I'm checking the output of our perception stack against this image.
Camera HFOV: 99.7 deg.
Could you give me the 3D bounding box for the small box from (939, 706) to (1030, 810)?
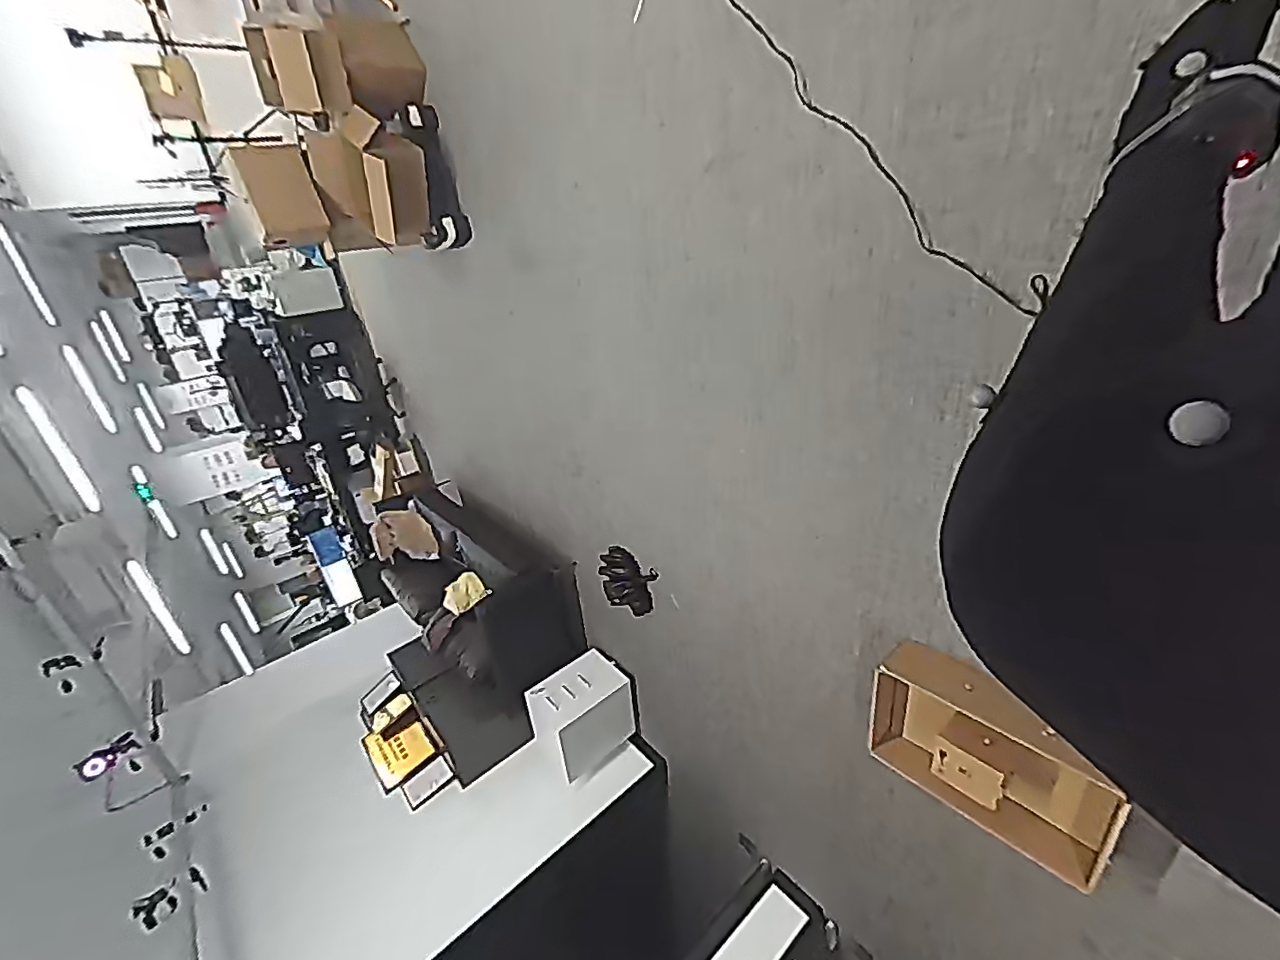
[{"bbox_3d":[1.003,0.797,1.573,0.179,0.176,0.168,20,128,47],"label":"small box"}]
